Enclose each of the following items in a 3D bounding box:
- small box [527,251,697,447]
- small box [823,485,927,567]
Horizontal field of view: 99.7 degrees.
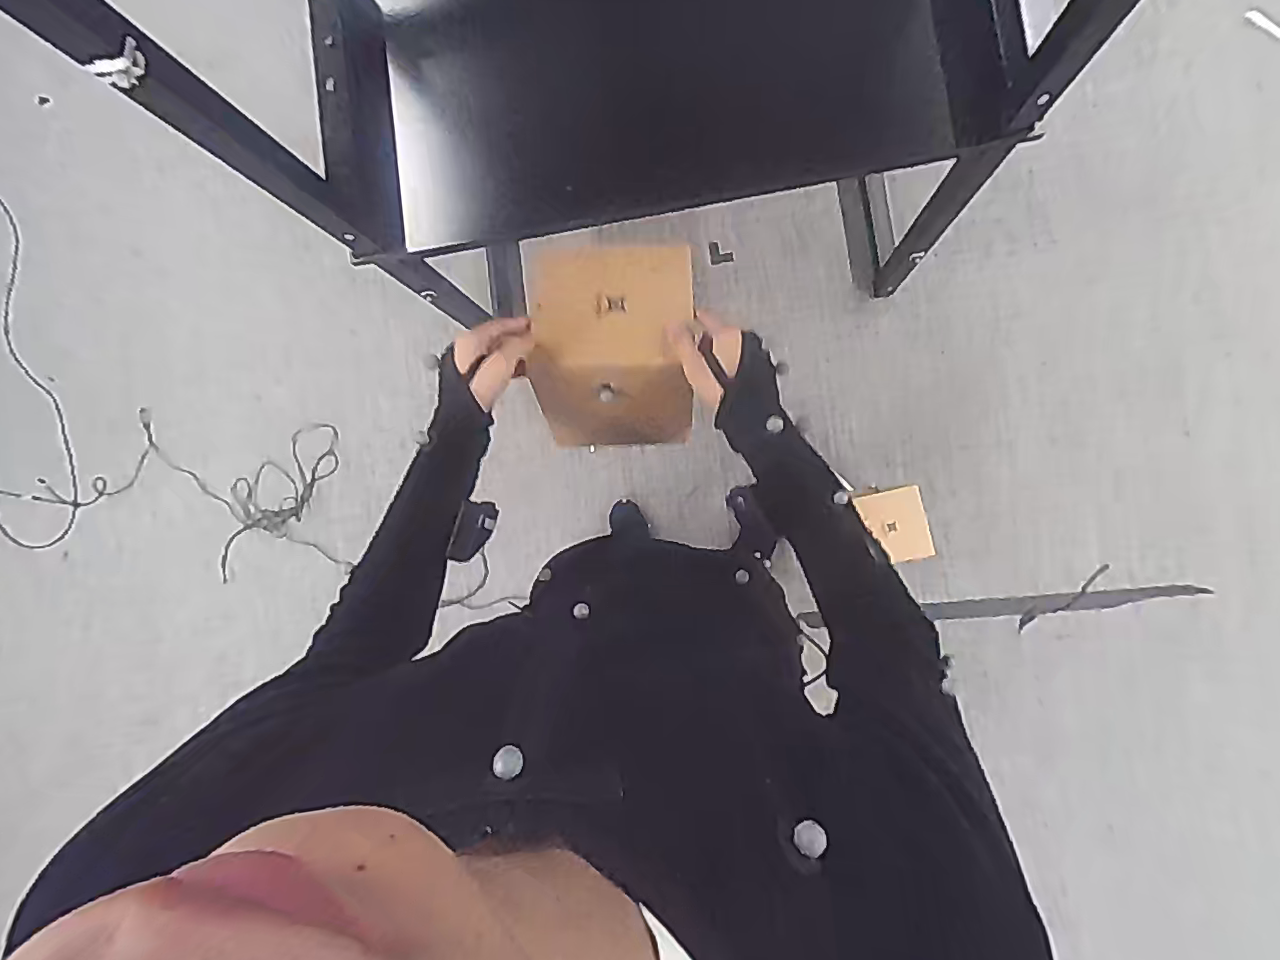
[{"bbox_3d":[-0.025,-0.149,0.652,0.179,0.176,0.168,-1,65,3],"label":"small box"},{"bbox_3d":[0.569,0.108,1.330,0.179,0.176,0.168,-12,87,7],"label":"small box"}]
